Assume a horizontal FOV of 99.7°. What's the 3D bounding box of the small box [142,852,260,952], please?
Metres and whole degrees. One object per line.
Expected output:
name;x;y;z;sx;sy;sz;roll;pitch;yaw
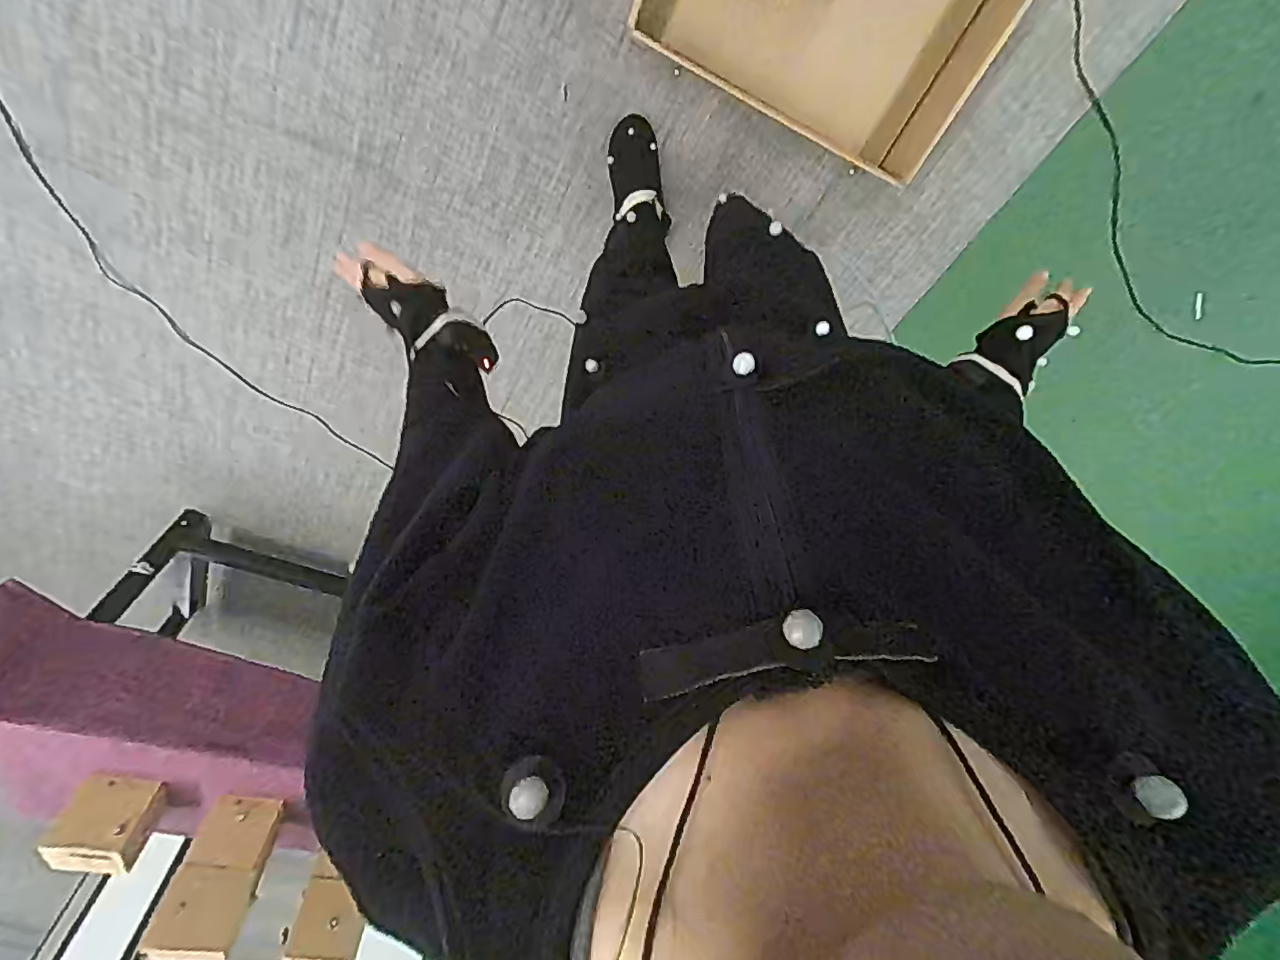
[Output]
small box;-1.109;1.074;1.379;0.179;0.176;0.168;17;128;-16

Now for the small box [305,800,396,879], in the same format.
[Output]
small box;-0.852;1.073;1.598;0.179;0.176;0.168;21;126;-18

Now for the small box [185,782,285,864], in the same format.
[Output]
small box;-1.117;0.971;1.506;0.168;0.176;0.179;16;127;-15

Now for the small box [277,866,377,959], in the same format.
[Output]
small box;-0.848;1.177;1.471;0.179;0.176;0.168;20;126;-19
